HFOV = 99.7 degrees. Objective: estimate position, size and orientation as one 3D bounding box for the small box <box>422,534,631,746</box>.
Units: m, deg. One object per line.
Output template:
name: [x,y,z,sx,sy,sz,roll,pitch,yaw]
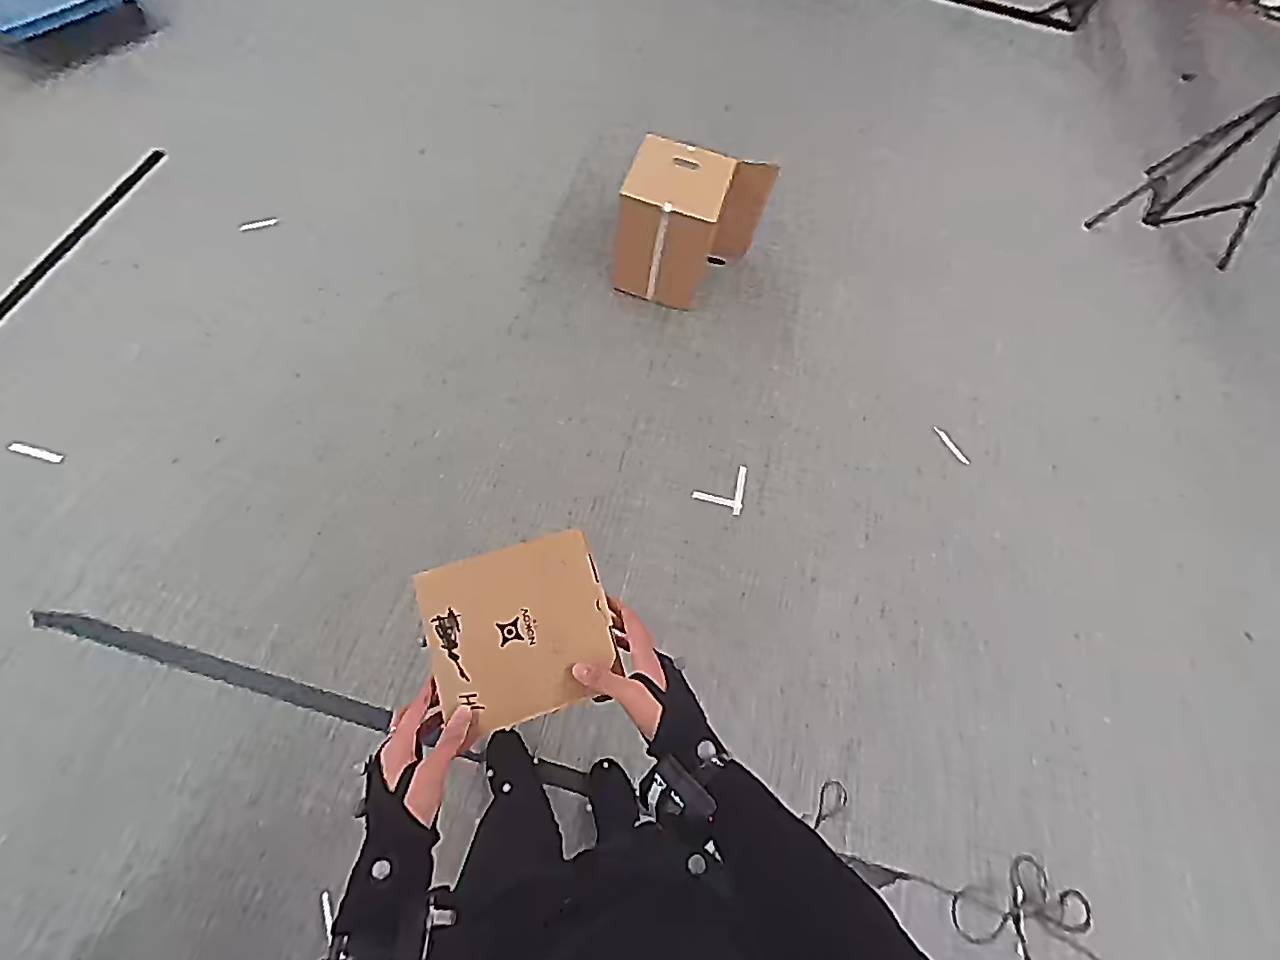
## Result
small box: [-0.119,0.168,0.602,0.179,0.176,0.168,-14,78,-8]
